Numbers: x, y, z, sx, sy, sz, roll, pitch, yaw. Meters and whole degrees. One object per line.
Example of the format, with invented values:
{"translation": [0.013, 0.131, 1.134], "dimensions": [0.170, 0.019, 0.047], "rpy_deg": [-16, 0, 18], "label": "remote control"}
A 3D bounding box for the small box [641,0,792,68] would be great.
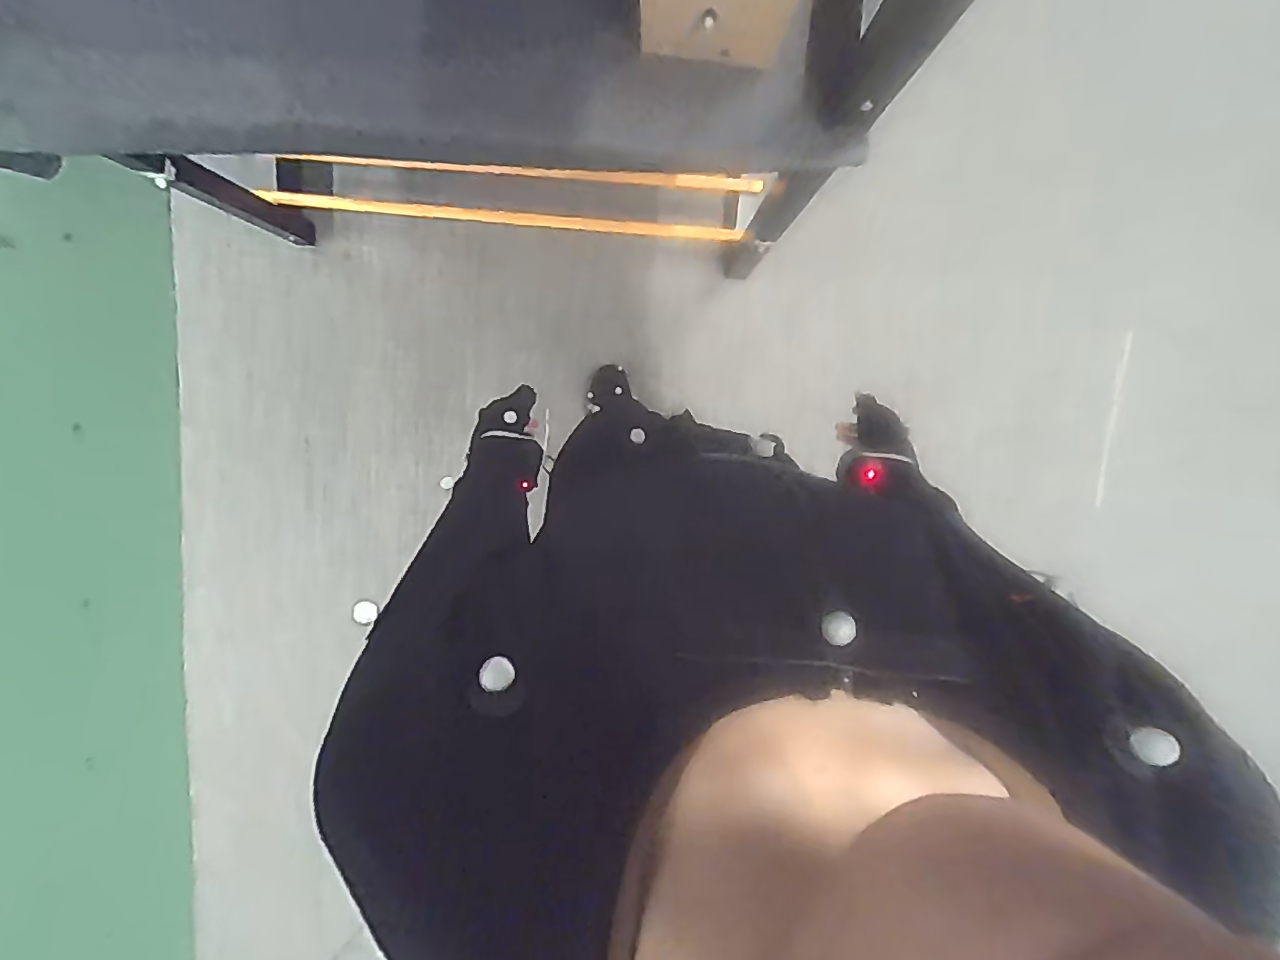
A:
{"translation": [0.092, -0.592, 0.582], "dimensions": [0.168, 0.176, 0.179], "rpy_deg": [8, 97, -1], "label": "small box"}
